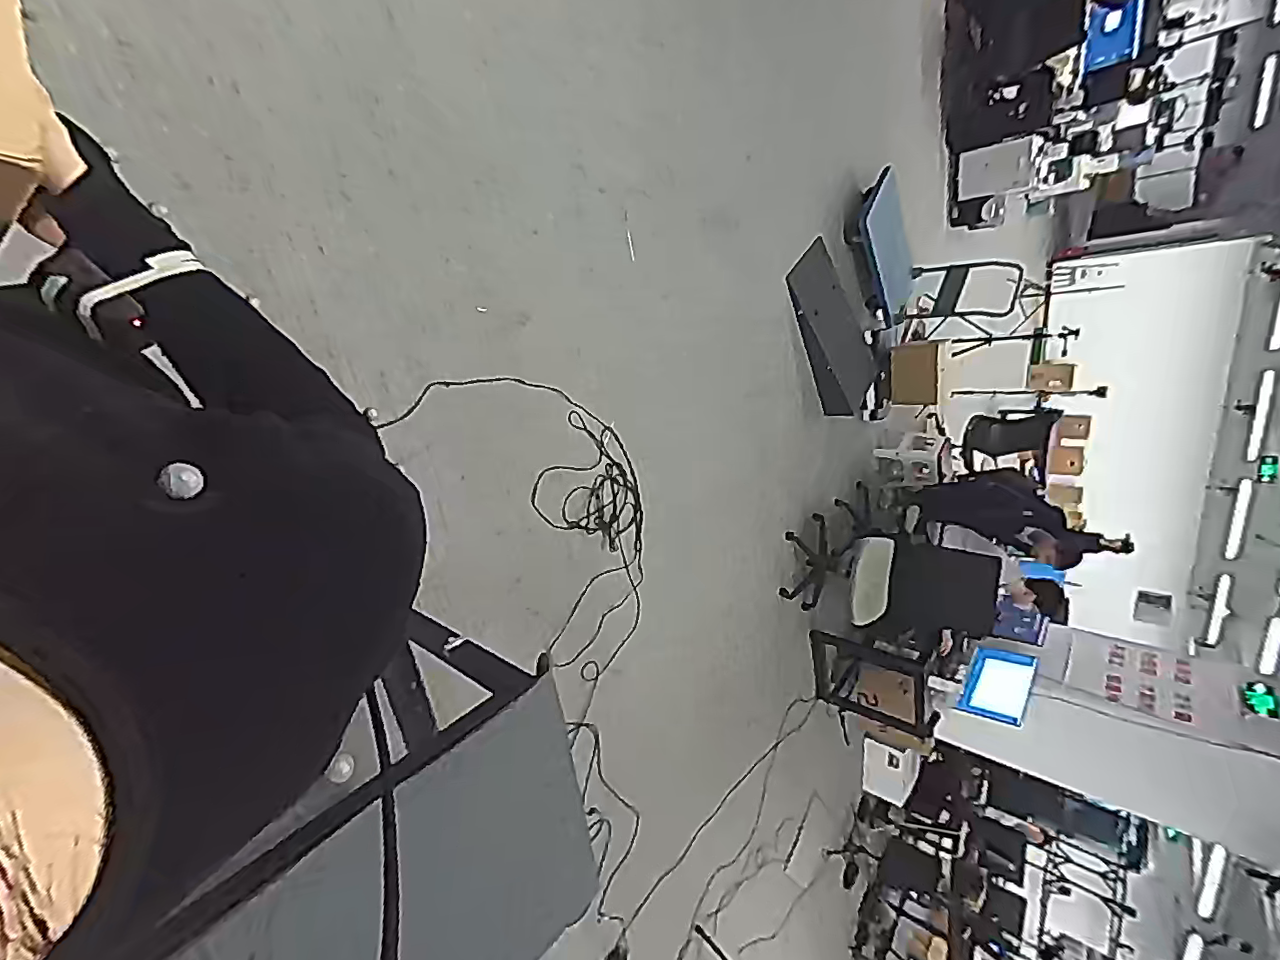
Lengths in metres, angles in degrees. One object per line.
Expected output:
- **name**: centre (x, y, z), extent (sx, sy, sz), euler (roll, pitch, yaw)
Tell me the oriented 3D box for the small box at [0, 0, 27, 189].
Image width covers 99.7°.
- **small box**: centre (-0.475, -0.261, 0.284), extent (0.168, 0.176, 0.179), euler (-9, 93, -58)
